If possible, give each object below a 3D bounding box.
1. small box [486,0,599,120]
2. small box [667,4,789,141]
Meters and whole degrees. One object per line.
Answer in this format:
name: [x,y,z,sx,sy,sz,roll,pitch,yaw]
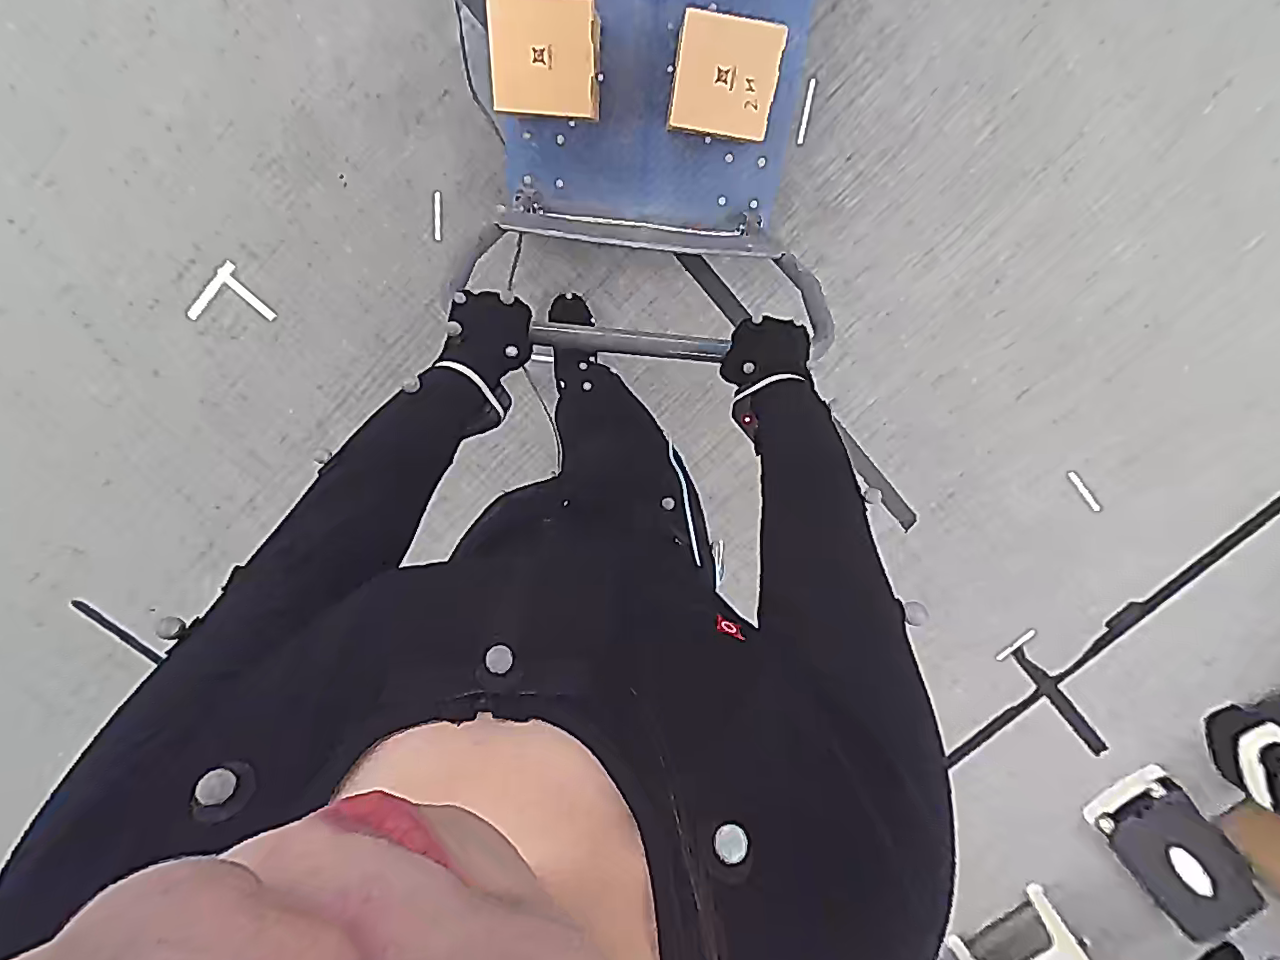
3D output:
small box: [-0.167,-0.755,0.974,0.179,0.176,0.168,1,121,-3]
small box: [0.149,-0.731,0.990,0.179,0.176,0.168,7,121,-5]
